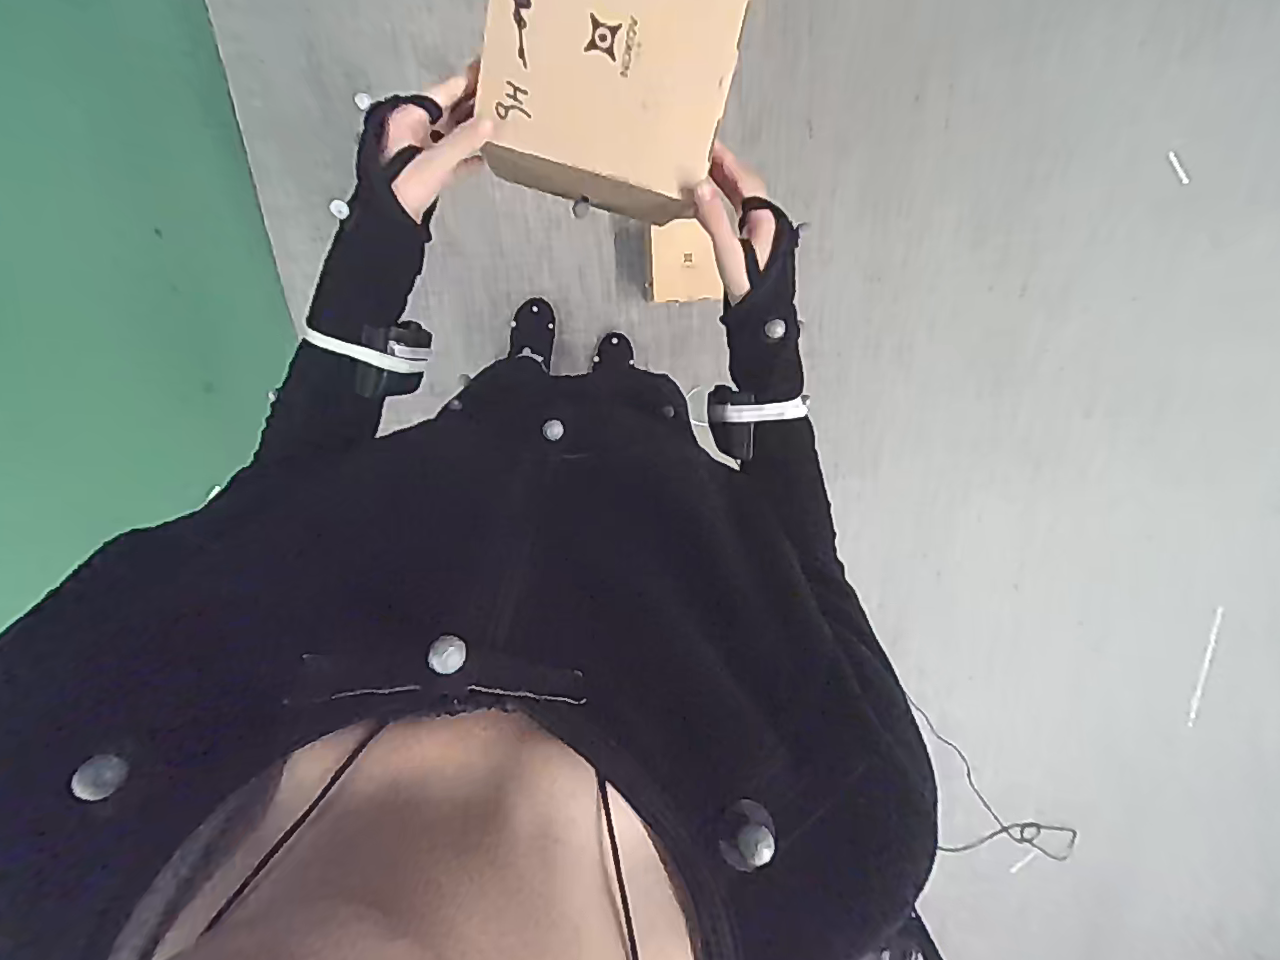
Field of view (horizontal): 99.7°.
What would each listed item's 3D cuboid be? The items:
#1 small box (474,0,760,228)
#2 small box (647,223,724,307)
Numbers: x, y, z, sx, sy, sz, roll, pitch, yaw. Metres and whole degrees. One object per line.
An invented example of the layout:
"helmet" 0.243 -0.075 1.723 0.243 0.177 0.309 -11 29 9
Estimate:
"small box" -0.027 -0.322 0.452 0.179 0.176 0.168 11 106 -12
"small box" 0.106 -0.513 1.308 0.168 0.176 0.179 -4 108 -3
